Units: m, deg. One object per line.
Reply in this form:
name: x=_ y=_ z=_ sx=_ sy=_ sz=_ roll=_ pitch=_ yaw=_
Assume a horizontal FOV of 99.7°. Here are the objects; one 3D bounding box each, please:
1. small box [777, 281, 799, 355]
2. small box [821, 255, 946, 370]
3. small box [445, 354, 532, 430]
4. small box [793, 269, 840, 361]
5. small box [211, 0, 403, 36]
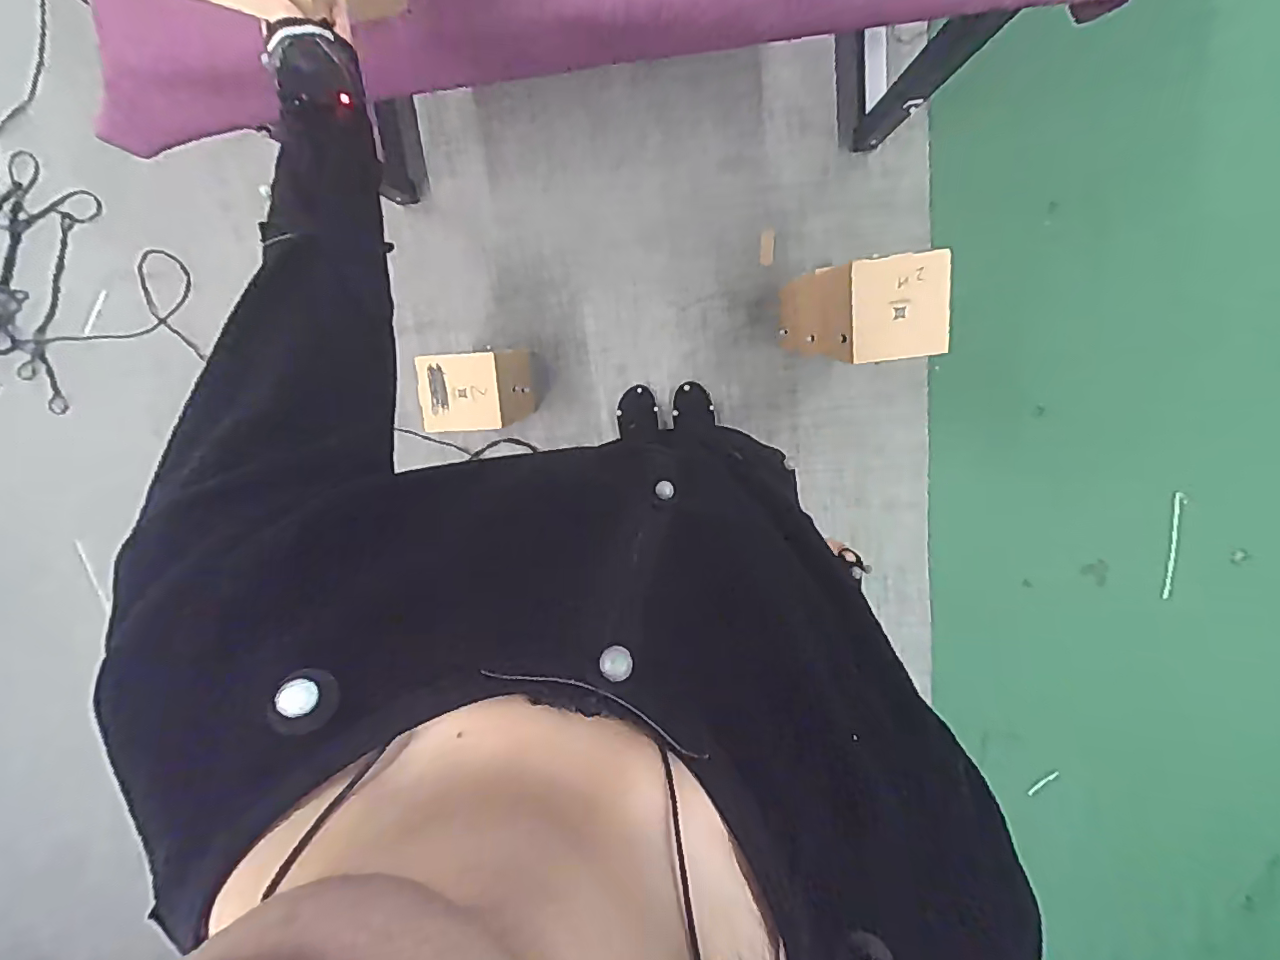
small box: x=0.435 y=-0.396 z=1.322 sx=0.179 sy=0.176 sz=0.168 roll=-5 pitch=104 yaw=3
small box: x=0.444 y=-0.307 z=1.008 sx=0.168 sy=0.176 sz=0.179 roll=-7 pitch=104 yaw=3
small box: x=-0.382 y=-0.231 z=1.394 sx=0.168 sy=0.176 sz=0.179 roll=-2 pitch=104 yaw=2
small box: x=0.434 y=-0.356 z=1.166 sx=0.168 sy=0.176 sz=0.179 roll=-7 pitch=105 yaw=4
small box: x=-0.346 y=-0.550 z=0.500 sx=0.179 sy=0.176 sz=0.168 roll=18 pitch=139 yaw=-1
